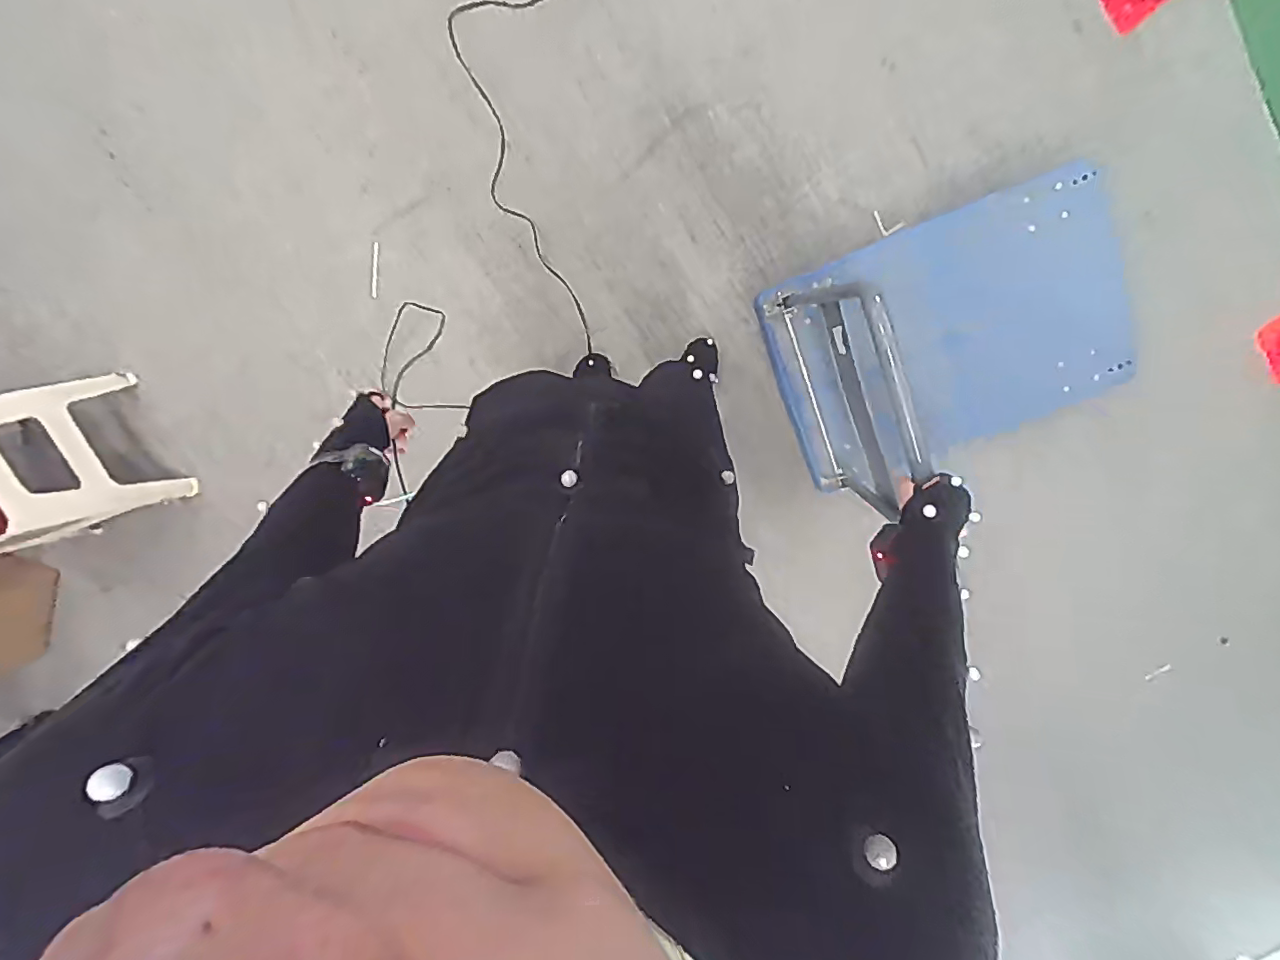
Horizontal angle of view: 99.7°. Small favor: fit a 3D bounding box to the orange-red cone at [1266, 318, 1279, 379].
[{"bbox_3d":[1.920,-0.370,1.387,0.199,0.360,0.198,-34,102,5],"label":"orange-red cone"}]
